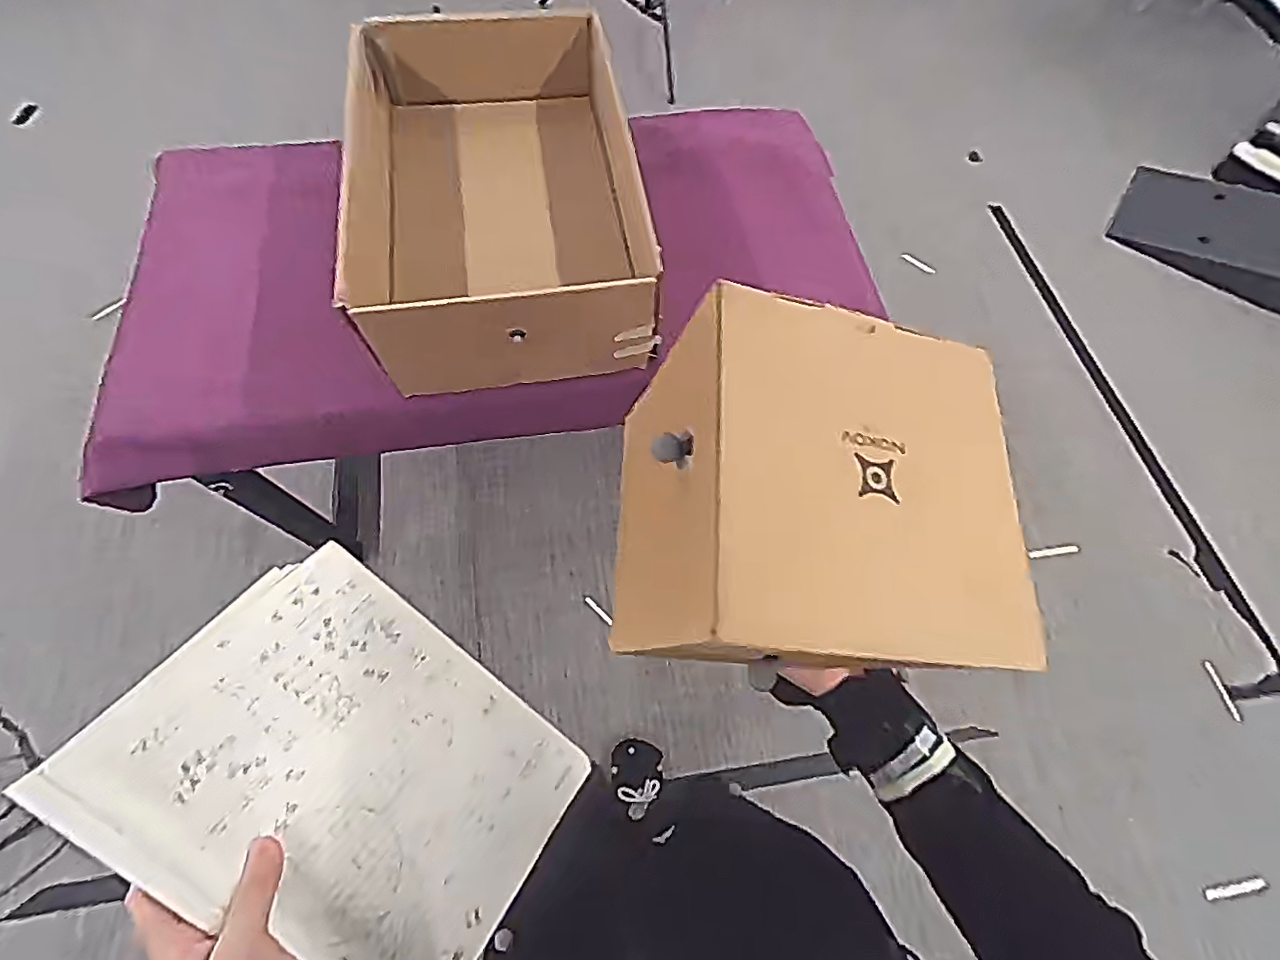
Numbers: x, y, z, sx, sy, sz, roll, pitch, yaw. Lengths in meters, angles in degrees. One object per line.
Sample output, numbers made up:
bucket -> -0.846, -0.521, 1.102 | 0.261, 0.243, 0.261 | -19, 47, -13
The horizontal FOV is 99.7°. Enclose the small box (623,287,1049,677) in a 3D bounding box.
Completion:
small box -> 0.090, 0.022, 0.329 | 0.168, 0.176, 0.179 | 9, 67, -14
